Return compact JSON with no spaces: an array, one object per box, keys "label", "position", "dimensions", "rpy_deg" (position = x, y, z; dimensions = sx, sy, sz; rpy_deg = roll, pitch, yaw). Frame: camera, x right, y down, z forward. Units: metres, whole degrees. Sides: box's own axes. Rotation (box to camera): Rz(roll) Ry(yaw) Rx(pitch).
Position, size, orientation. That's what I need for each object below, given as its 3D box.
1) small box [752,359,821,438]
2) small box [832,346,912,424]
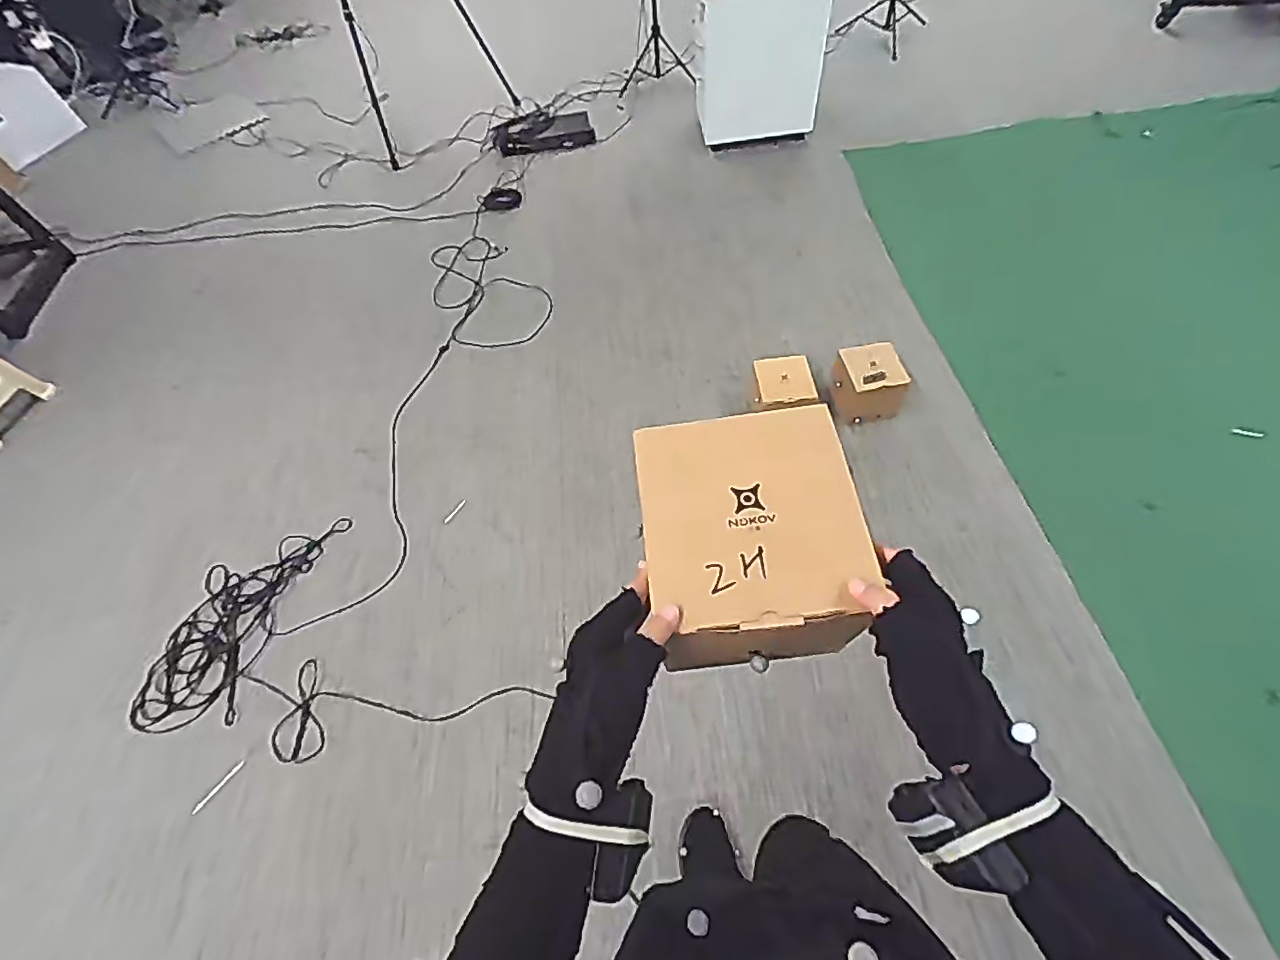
[{"label":"small box","position":[0.455,-0.256,1.710],"dimensions":[0.168,0.176,0.179],"rpy_deg":[-6,59,2]},{"label":"small box","position":[0.721,-0.291,1.700],"dimensions":[0.168,0.176,0.179],"rpy_deg":[-9,58,1]}]
